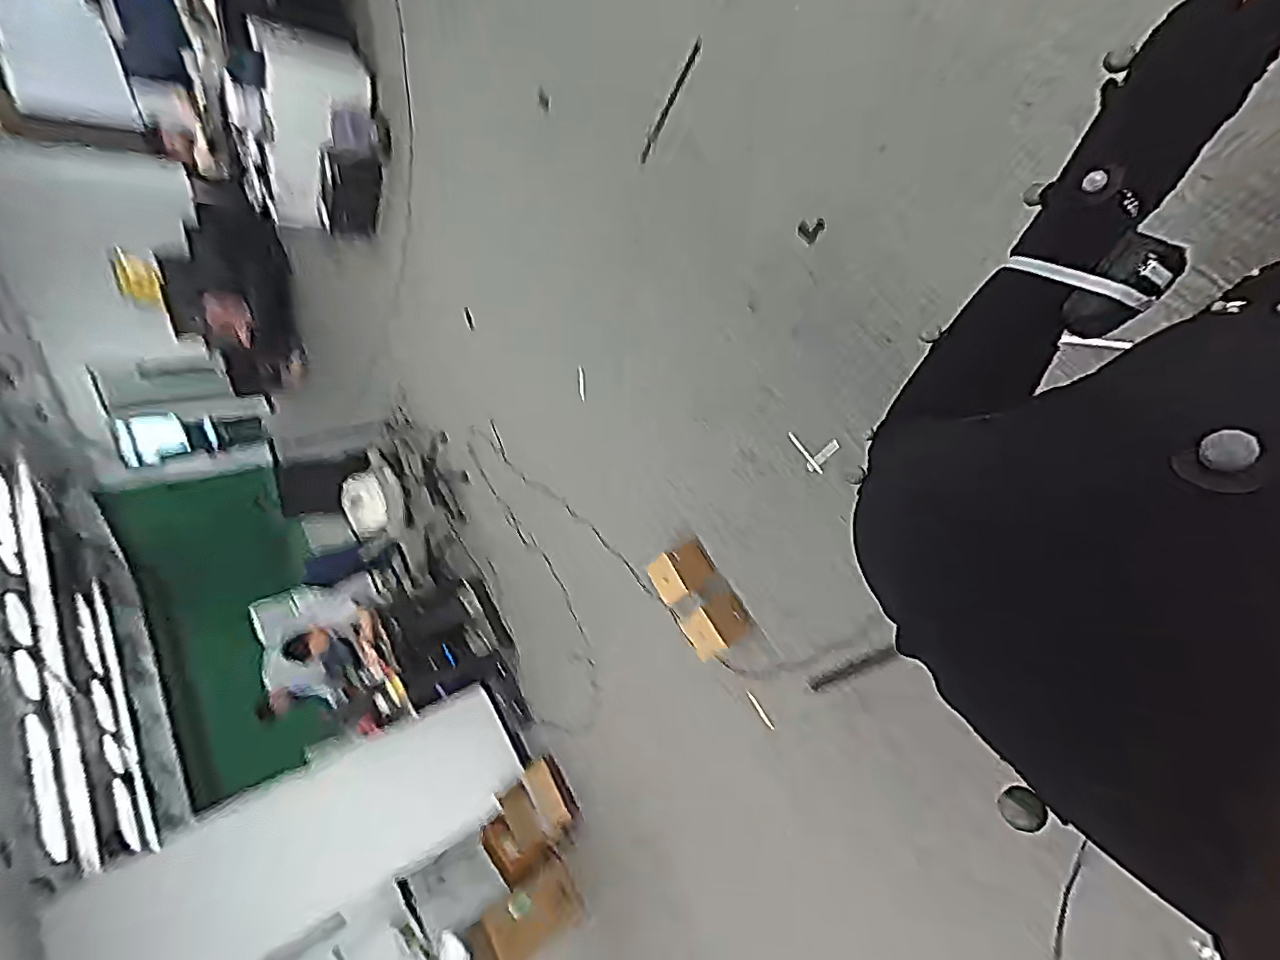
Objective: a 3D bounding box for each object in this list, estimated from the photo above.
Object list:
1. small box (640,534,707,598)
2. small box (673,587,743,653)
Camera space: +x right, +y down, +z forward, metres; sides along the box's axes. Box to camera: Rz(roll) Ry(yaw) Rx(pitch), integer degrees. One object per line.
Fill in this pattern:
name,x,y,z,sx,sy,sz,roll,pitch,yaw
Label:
small box,0.139,0.345,2.188,0.179,0.176,0.168,60,138,17
small box,0.267,0.544,2.107,0.168,0.176,0.179,57,136,17
